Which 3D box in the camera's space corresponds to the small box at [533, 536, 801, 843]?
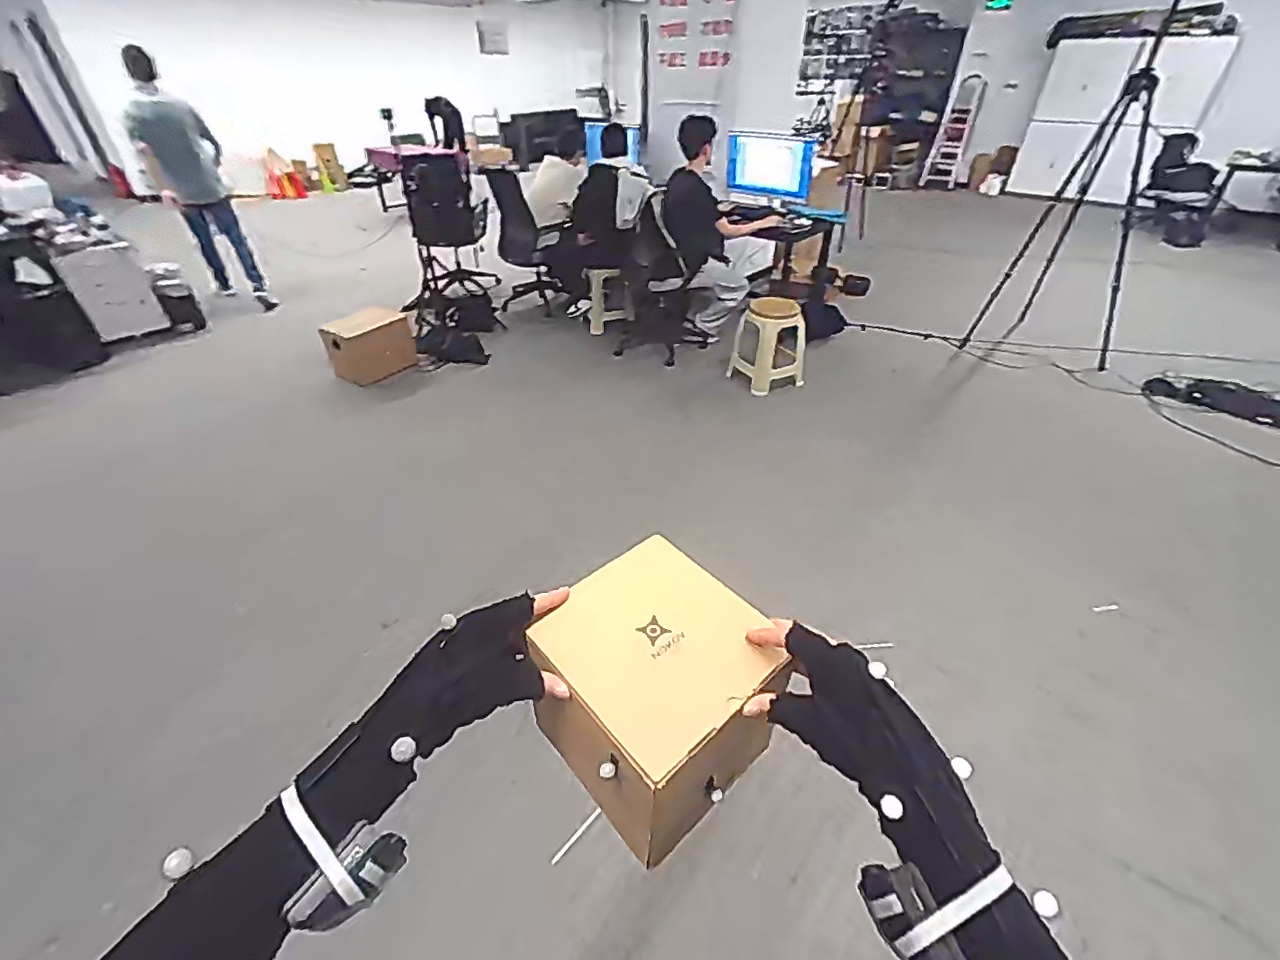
[{"bbox_3d":[0.015,0.191,0.511,0.168,0.176,0.179,-26,49,-32],"label":"small box"}]
